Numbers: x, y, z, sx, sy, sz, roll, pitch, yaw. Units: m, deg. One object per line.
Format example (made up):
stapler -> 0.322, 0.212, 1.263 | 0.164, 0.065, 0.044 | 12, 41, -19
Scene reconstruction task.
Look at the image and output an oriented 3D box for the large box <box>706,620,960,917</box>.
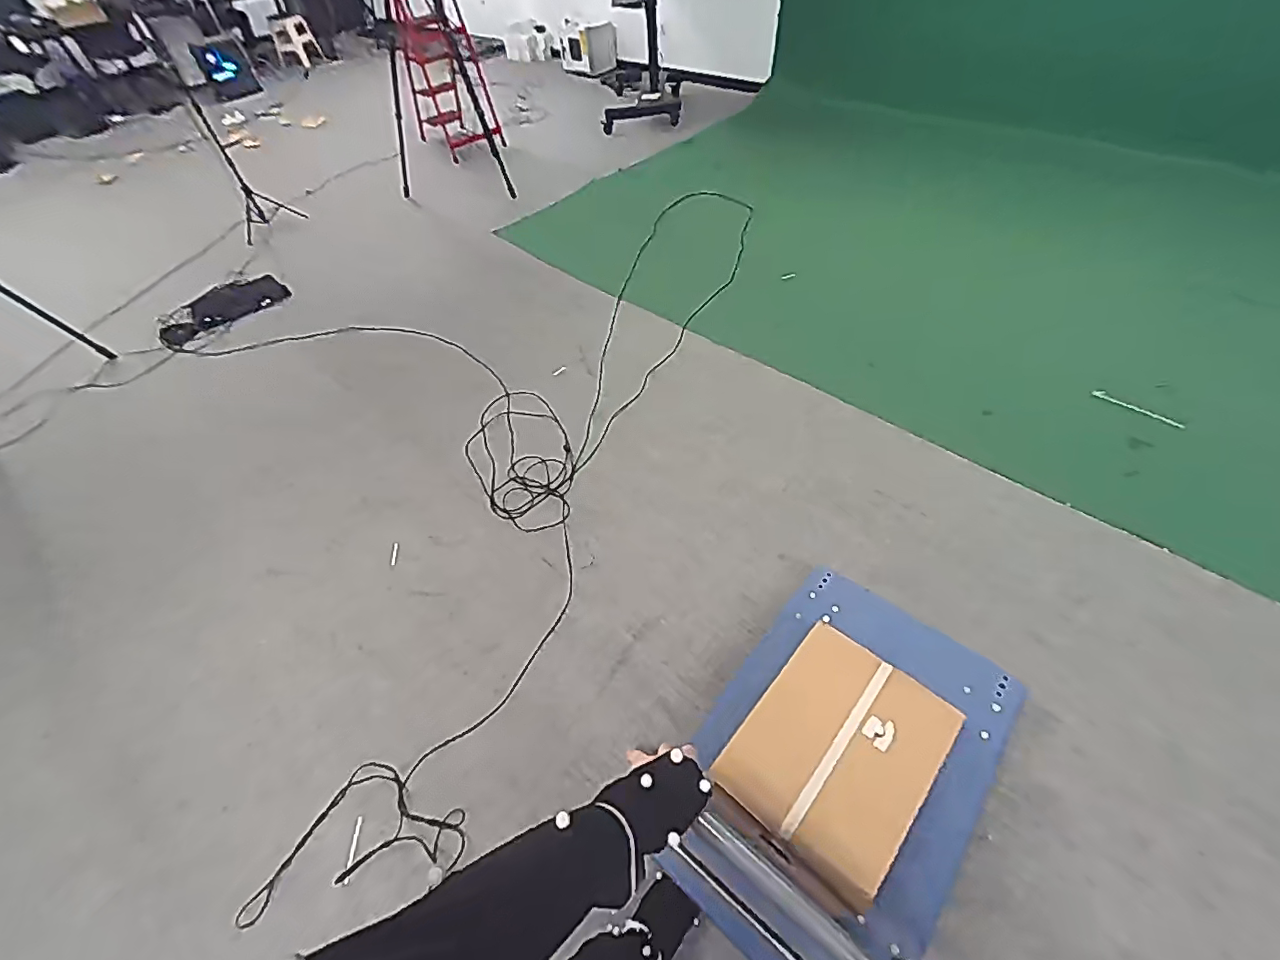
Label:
large box -> 0.375, 0.586, 1.117 | 0.320, 0.320, 0.408 | 34, 60, 27
